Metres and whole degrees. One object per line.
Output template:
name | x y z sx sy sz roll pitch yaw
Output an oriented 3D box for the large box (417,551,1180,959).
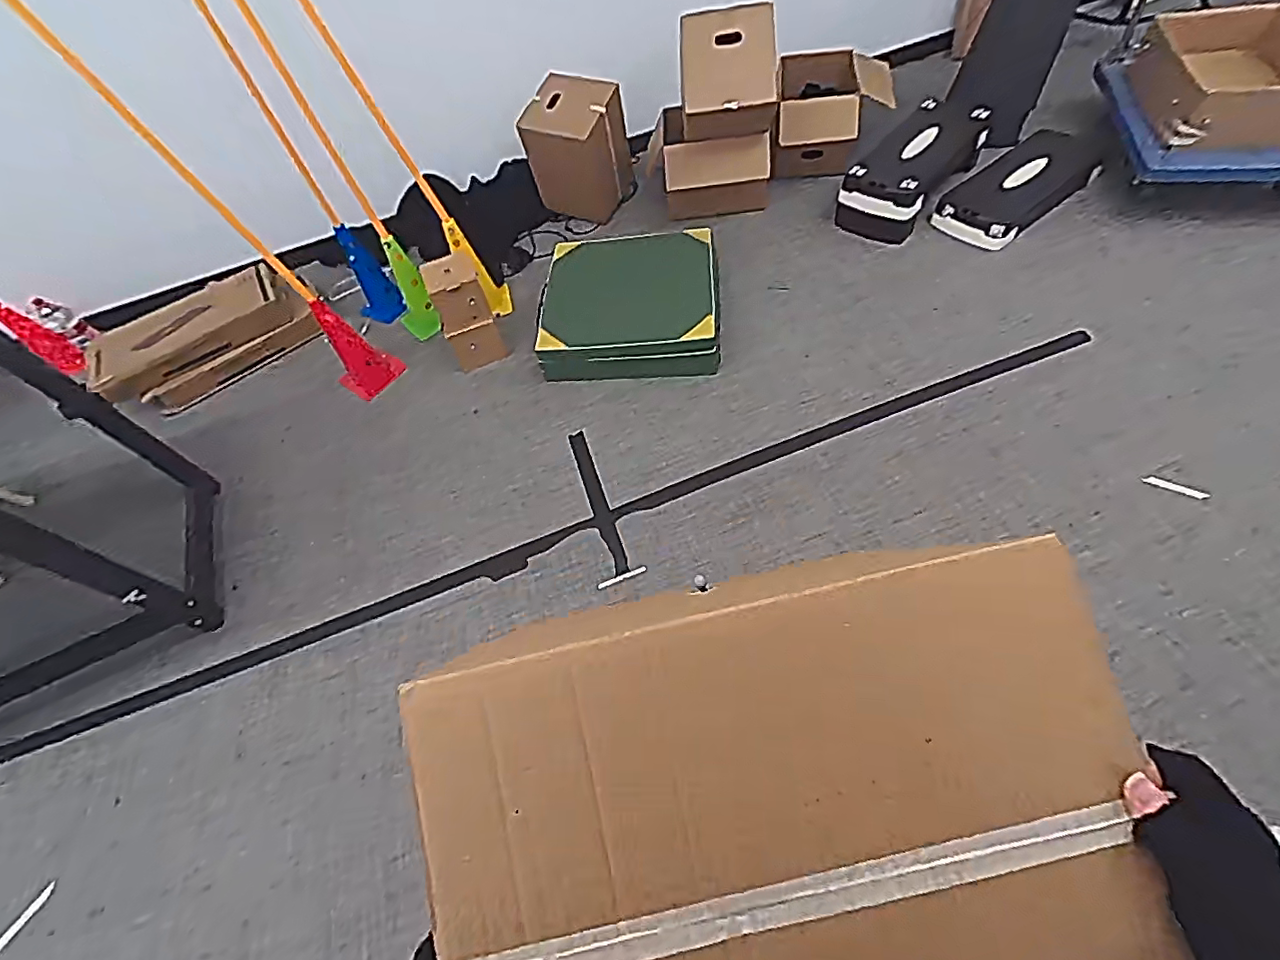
large box | 0.095 0.258 0.457 0.408 0.320 0.320 -13 81 -1
